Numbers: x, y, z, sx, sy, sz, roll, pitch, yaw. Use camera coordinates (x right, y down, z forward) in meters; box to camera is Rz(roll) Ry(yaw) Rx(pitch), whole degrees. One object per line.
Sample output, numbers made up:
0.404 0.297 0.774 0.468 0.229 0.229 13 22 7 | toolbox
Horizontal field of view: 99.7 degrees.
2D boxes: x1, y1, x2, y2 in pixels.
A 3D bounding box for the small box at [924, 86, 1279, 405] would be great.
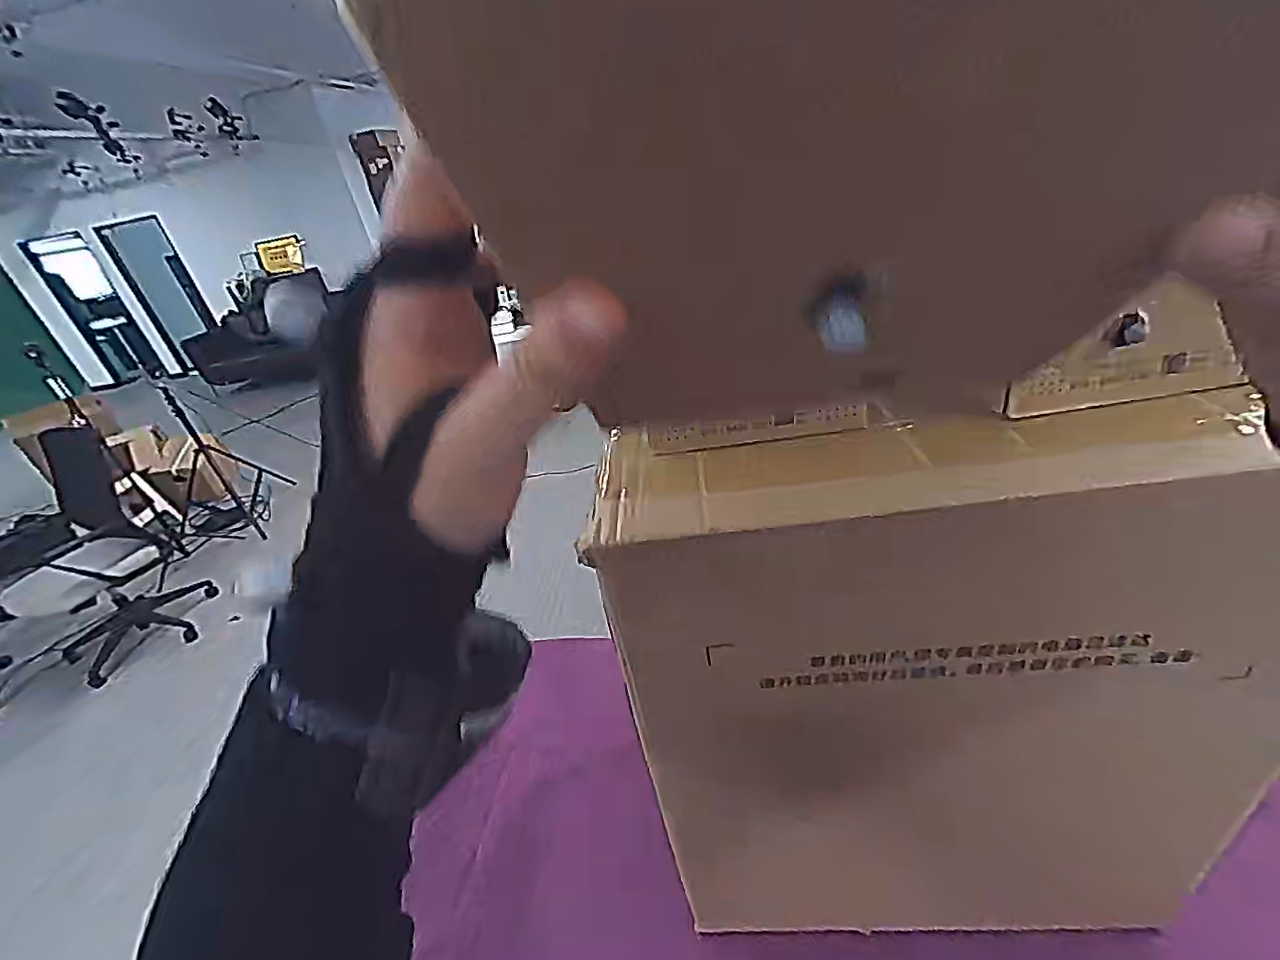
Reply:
0.325 -0.173 0.406 0.168 0.176 0.179 -9 31 6 | small box
